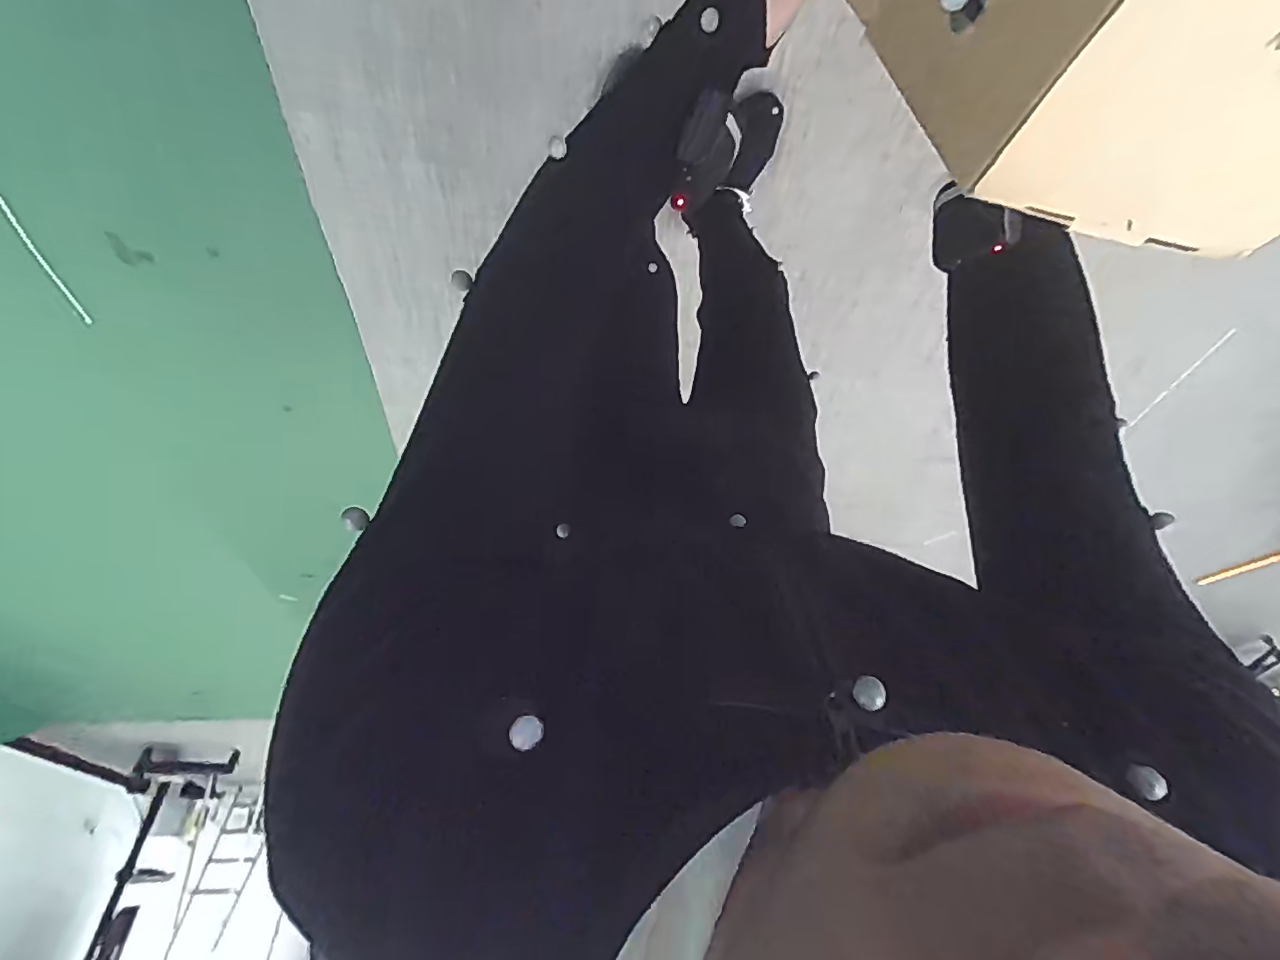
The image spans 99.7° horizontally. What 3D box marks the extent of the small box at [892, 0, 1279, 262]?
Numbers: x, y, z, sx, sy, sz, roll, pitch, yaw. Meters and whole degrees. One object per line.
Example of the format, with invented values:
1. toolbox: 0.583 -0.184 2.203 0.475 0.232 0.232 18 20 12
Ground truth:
1. small box: 0.229 -0.226 0.216 0.168 0.176 0.179 5 148 -13
